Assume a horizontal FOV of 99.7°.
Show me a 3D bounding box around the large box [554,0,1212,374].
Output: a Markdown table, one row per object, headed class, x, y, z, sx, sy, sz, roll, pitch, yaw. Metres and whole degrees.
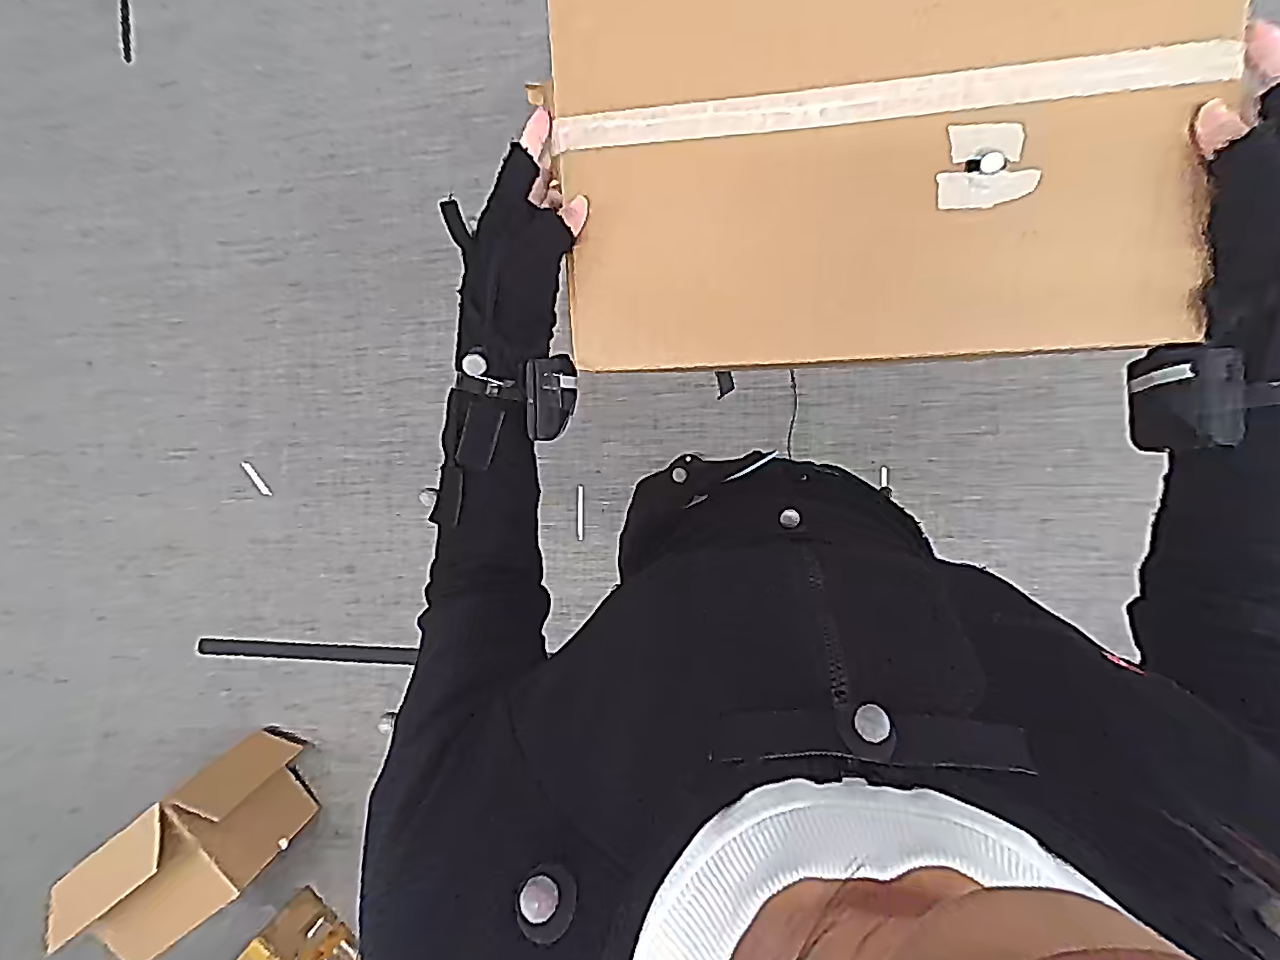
| class | x | y | z | sx | sy | sz | roll | pitch | yaw |
| --- | --- | --- | --- | --- | --- | --- | --- | --- | --- |
| large box | 0.159 | -0.268 | 0.499 | 0.408 | 0.320 | 0.320 | -2 | 101 | 6 |
